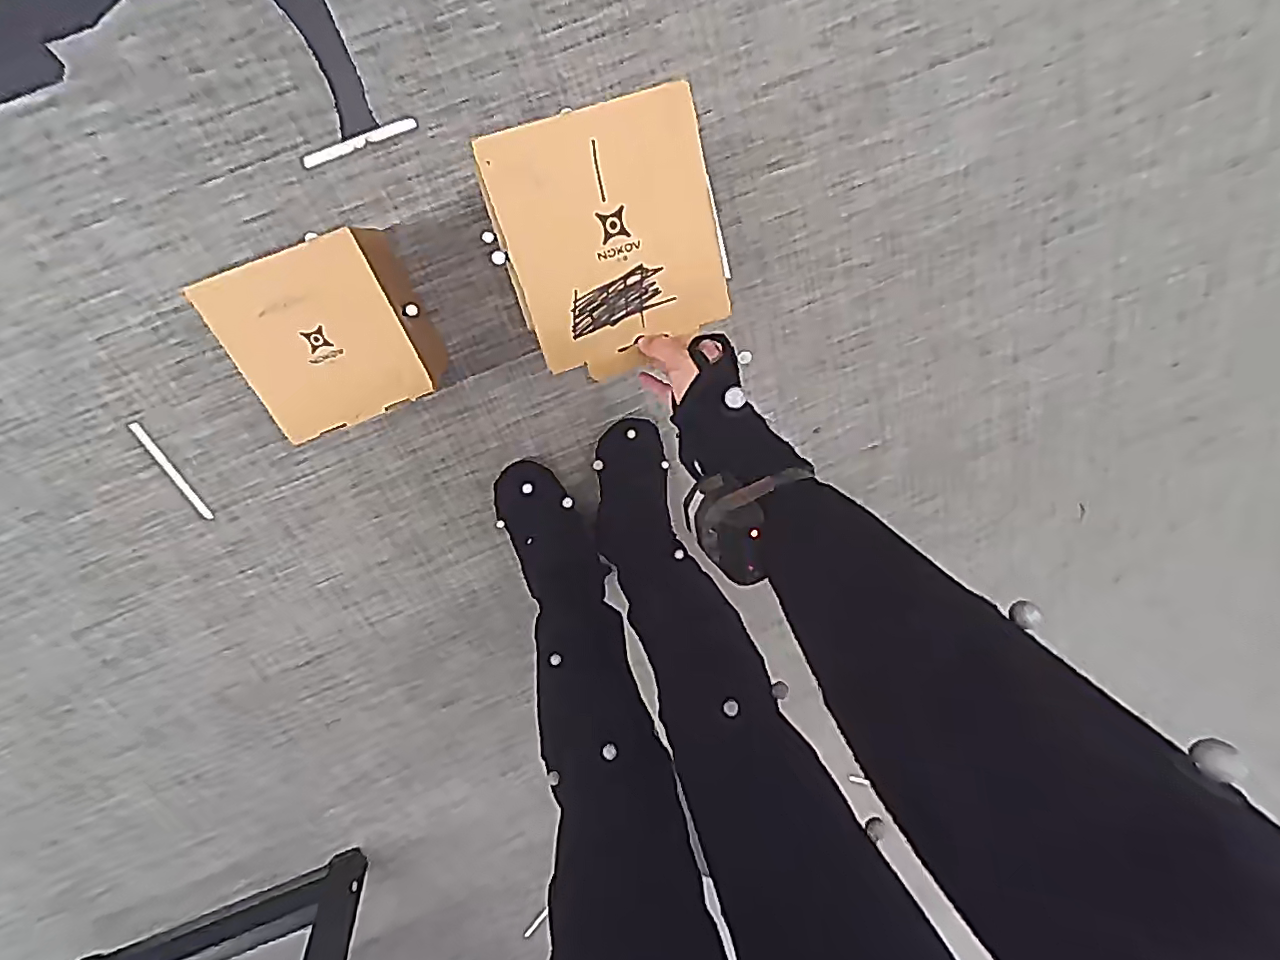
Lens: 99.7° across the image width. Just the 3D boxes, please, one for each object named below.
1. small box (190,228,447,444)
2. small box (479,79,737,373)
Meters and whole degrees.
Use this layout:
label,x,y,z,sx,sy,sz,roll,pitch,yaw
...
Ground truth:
label,x,y,z,sx,sy,sz,roll,pitch,yaw
small box,-0.337,-0.171,0.617,0.168,0.176,0.179,-23,116,-4
small box,-0.030,-0.219,0.486,0.168,0.176,0.179,-19,116,-5
